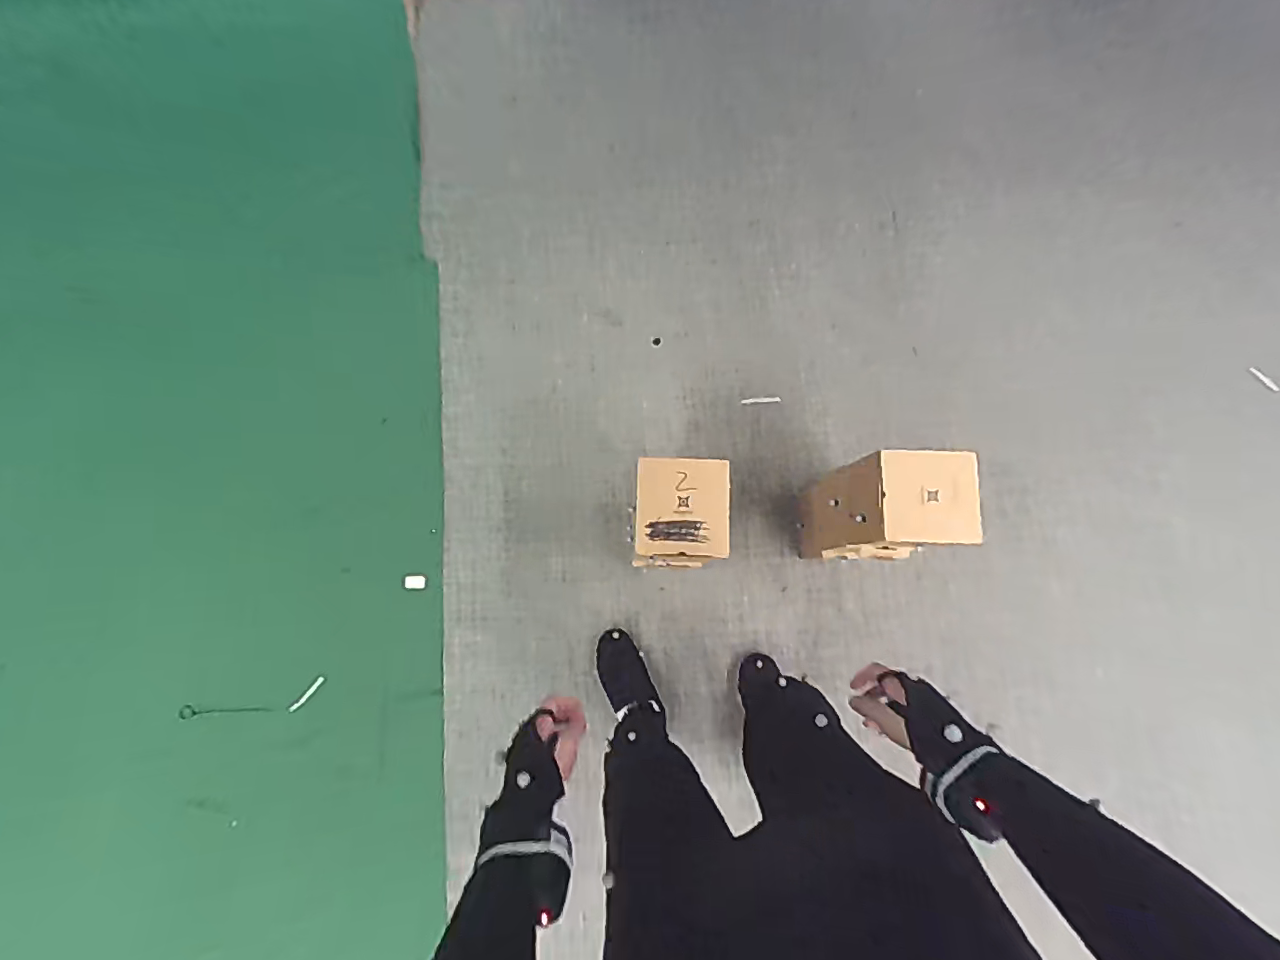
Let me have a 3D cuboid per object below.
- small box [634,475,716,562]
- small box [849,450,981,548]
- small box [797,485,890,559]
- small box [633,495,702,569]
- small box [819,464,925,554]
[{"bbox_3d":[0.073,0.090,1.192,0.168,0.176,0.179,1,81,-1],"label":"small box"},{"bbox_3d":[0.512,0.042,1.036,0.179,0.176,0.168,2,81,0],"label":"small box"},{"bbox_3d":[0.503,0.106,1.357,0.168,0.176,0.179,-2,81,-2],"label":"small box"},{"bbox_3d":[0.066,0.134,1.365,0.168,0.176,0.179,0,80,-1],"label":"small box"},{"bbox_3d":[0.504,0.069,1.197,0.168,0.176,0.179,2,80,1],"label":"small box"}]
